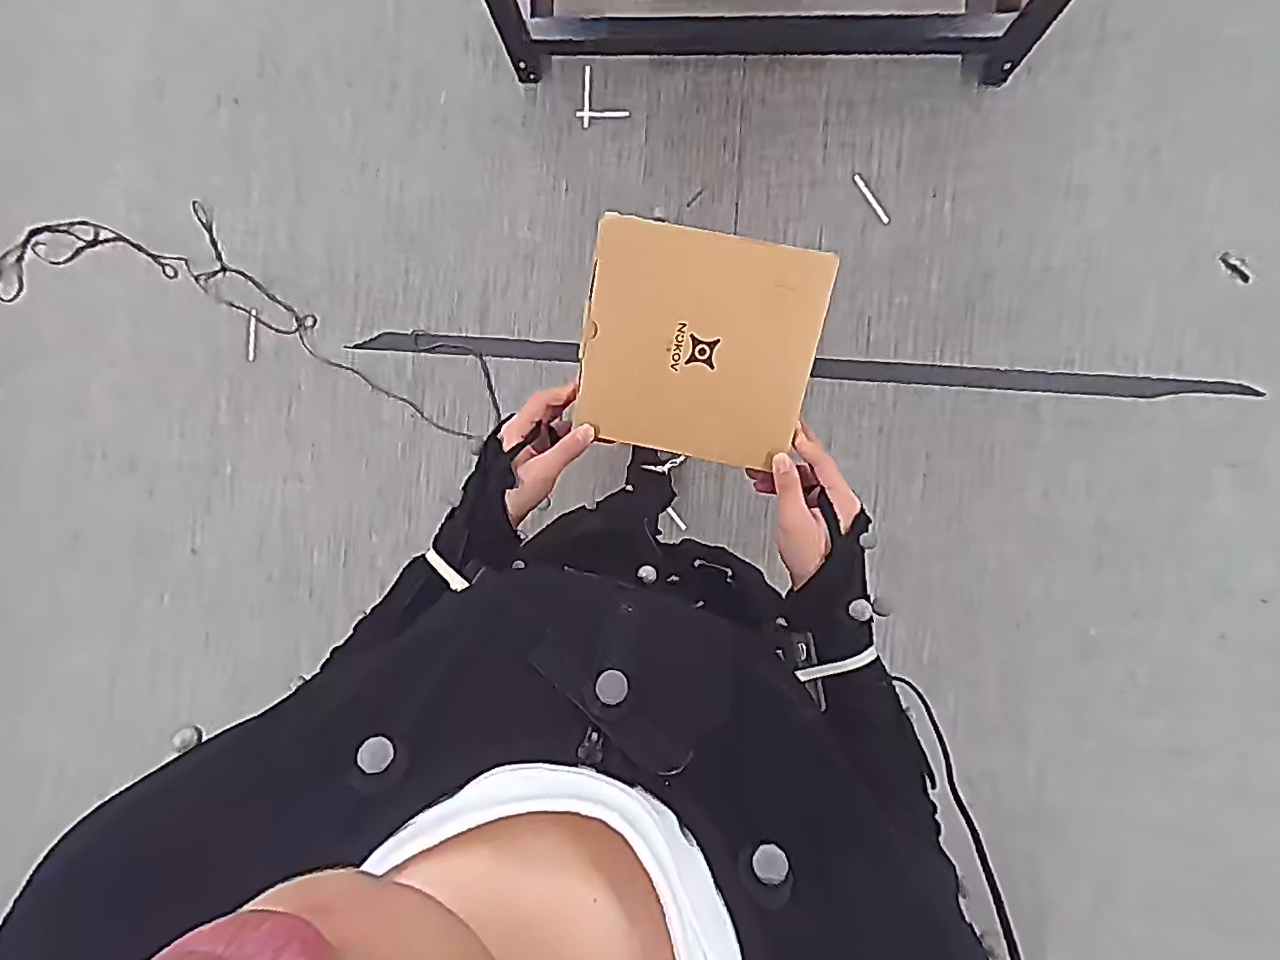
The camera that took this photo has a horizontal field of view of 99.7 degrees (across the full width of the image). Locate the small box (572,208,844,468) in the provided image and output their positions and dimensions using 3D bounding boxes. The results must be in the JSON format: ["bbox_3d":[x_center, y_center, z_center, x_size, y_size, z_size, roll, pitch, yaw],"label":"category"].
[{"bbox_3d":[0.052,-0.124,0.478,0.179,0.176,0.168,11,107,3],"label":"small box"}]
